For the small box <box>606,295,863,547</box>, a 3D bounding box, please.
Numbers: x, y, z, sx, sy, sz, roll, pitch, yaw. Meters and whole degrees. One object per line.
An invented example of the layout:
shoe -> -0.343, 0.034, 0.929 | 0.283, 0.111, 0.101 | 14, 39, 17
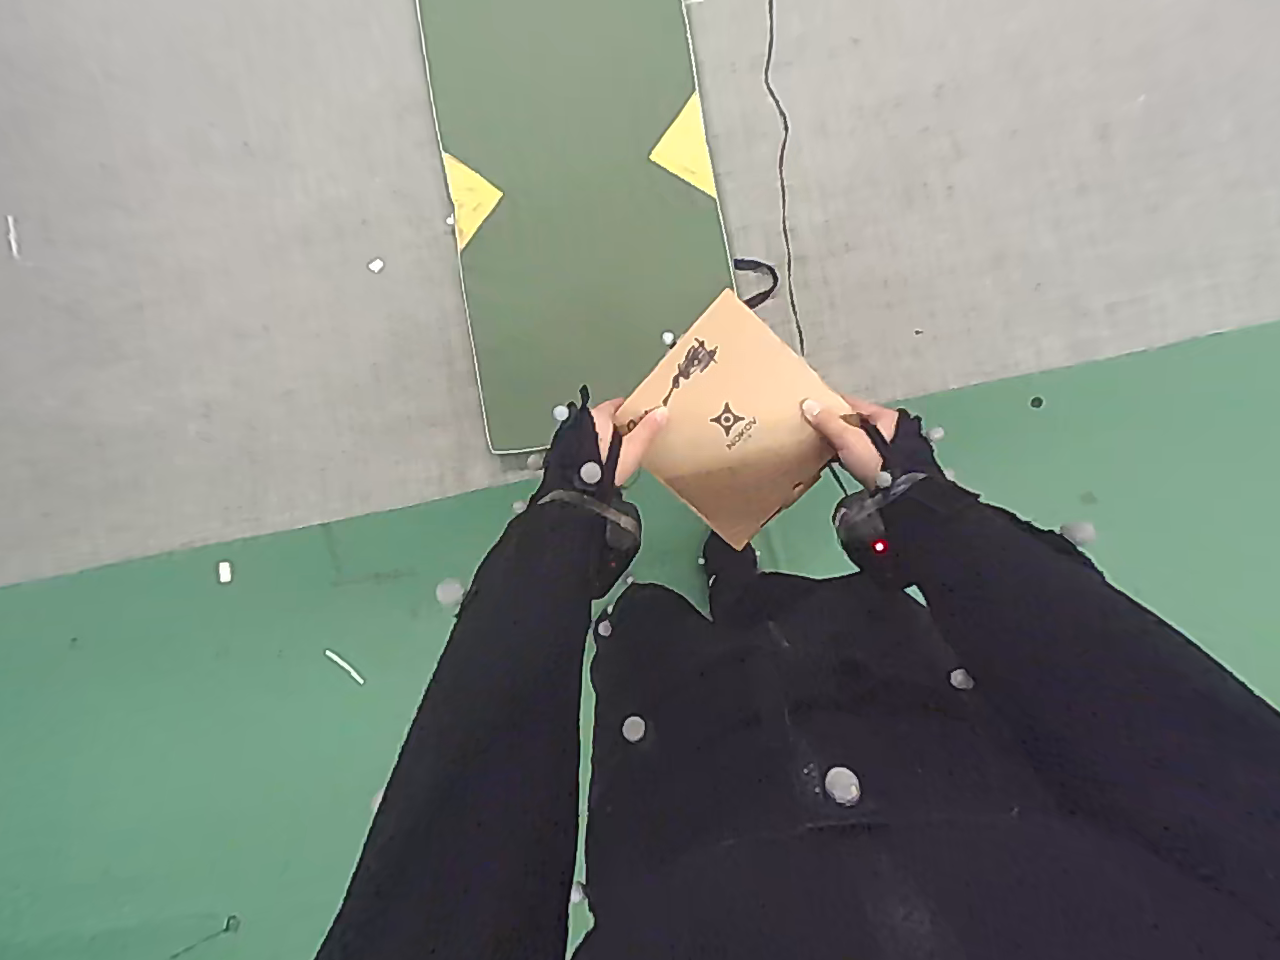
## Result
small box -> 0.089, -0.066, 0.566 | 0.179, 0.176, 0.168 | 42, 101, -6
